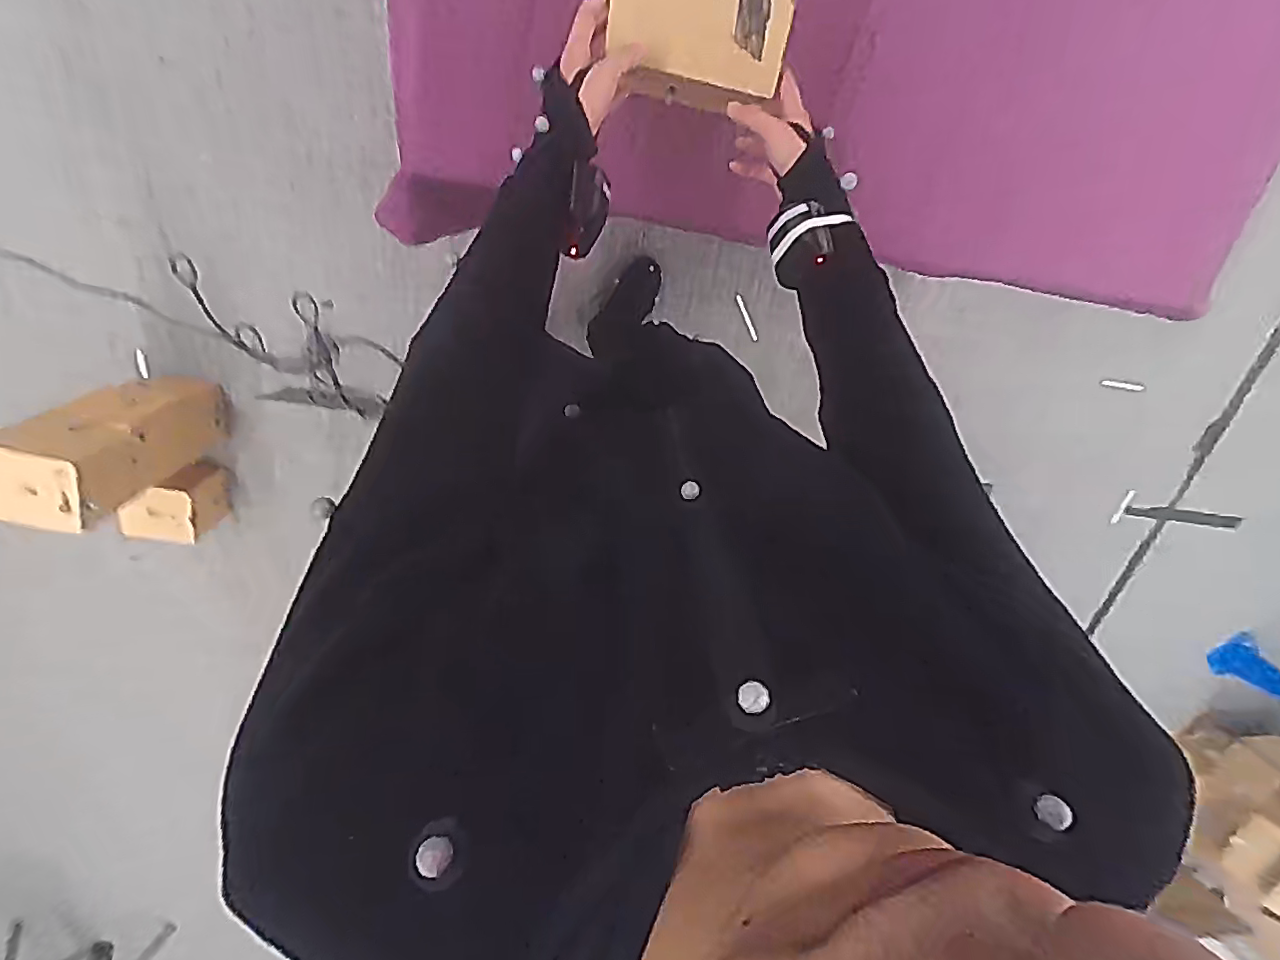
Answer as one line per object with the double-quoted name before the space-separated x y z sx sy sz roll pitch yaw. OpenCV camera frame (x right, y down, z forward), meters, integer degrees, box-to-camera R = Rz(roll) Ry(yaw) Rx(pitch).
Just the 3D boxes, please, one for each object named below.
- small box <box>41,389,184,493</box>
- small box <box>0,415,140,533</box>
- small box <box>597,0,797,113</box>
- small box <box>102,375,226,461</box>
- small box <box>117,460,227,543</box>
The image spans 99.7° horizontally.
"small box" -1.211 -0.095 1.261 0.168 0.176 0.179 9 115 -10
"small box" -1.194 -0.019 1.116 0.179 0.176 0.168 16 114 -12
"small box" 0.055 -0.499 0.561 0.179 0.176 0.168 7 118 -10
"small box" -1.227 -0.166 1.405 0.179 0.176 0.168 7 116 -10
"small box" -1.295 0.051 1.502 0.179 0.176 0.168 11 115 -12
